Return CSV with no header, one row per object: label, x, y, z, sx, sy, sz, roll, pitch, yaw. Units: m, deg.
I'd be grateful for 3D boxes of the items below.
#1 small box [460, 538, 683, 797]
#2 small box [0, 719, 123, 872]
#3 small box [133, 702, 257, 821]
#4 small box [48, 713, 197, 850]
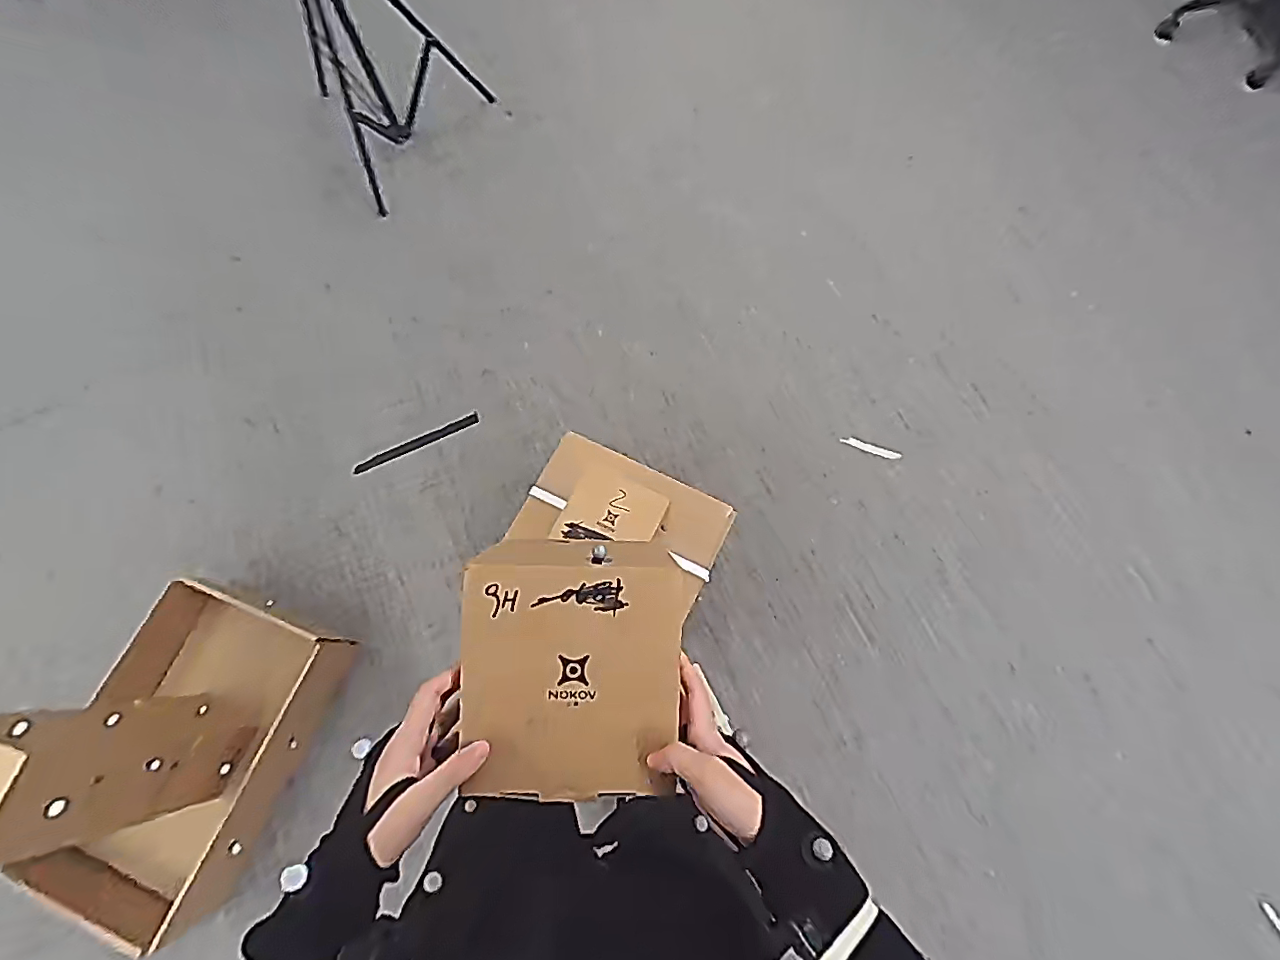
small box,-0.056,0.153,0.491,0.168,0.176,0.179,2,90,-4
small box,-0.992,0.488,0.848,0.179,0.176,0.168,16,71,5
small box,-0.987,0.590,1.159,0.179,0.176,0.168,20,74,6
small box,-0.993,0.544,1.004,0.179,0.176,0.168,16,72,7
